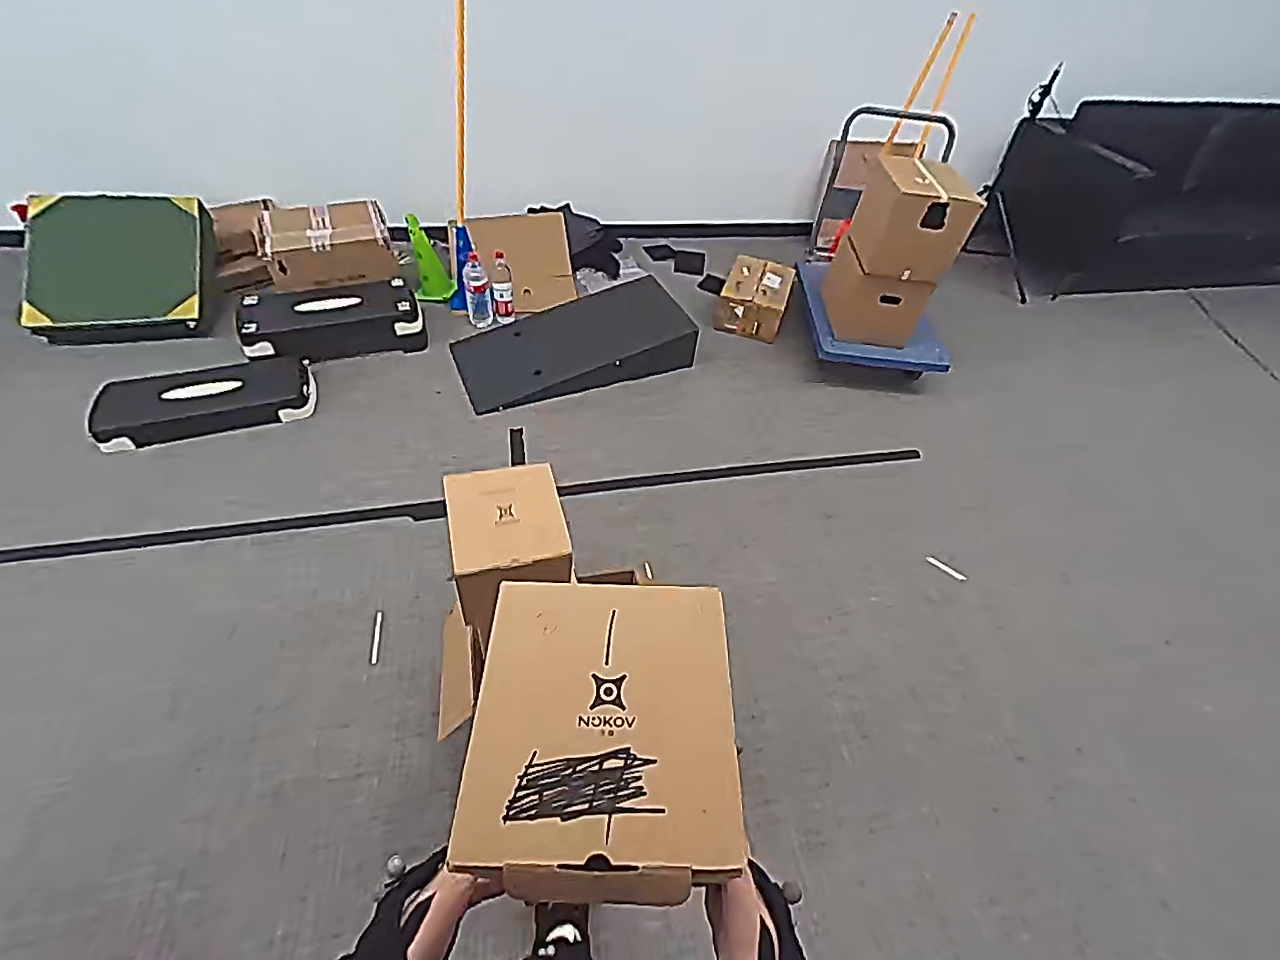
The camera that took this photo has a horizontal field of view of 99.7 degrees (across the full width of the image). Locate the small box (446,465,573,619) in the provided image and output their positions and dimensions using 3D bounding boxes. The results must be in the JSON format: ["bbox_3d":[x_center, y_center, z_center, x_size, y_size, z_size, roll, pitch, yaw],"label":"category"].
[{"bbox_3d":[-0.206,0.103,0.856,0.168,0.176,0.179,-8,53,-18],"label":"small box"}]

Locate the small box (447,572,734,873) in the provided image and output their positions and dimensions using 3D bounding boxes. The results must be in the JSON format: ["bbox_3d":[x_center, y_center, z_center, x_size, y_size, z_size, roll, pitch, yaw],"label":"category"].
[{"bbox_3d":[-0.027,0.189,0.414,0.168,0.176,0.179,2,51,-1],"label":"small box"}]
